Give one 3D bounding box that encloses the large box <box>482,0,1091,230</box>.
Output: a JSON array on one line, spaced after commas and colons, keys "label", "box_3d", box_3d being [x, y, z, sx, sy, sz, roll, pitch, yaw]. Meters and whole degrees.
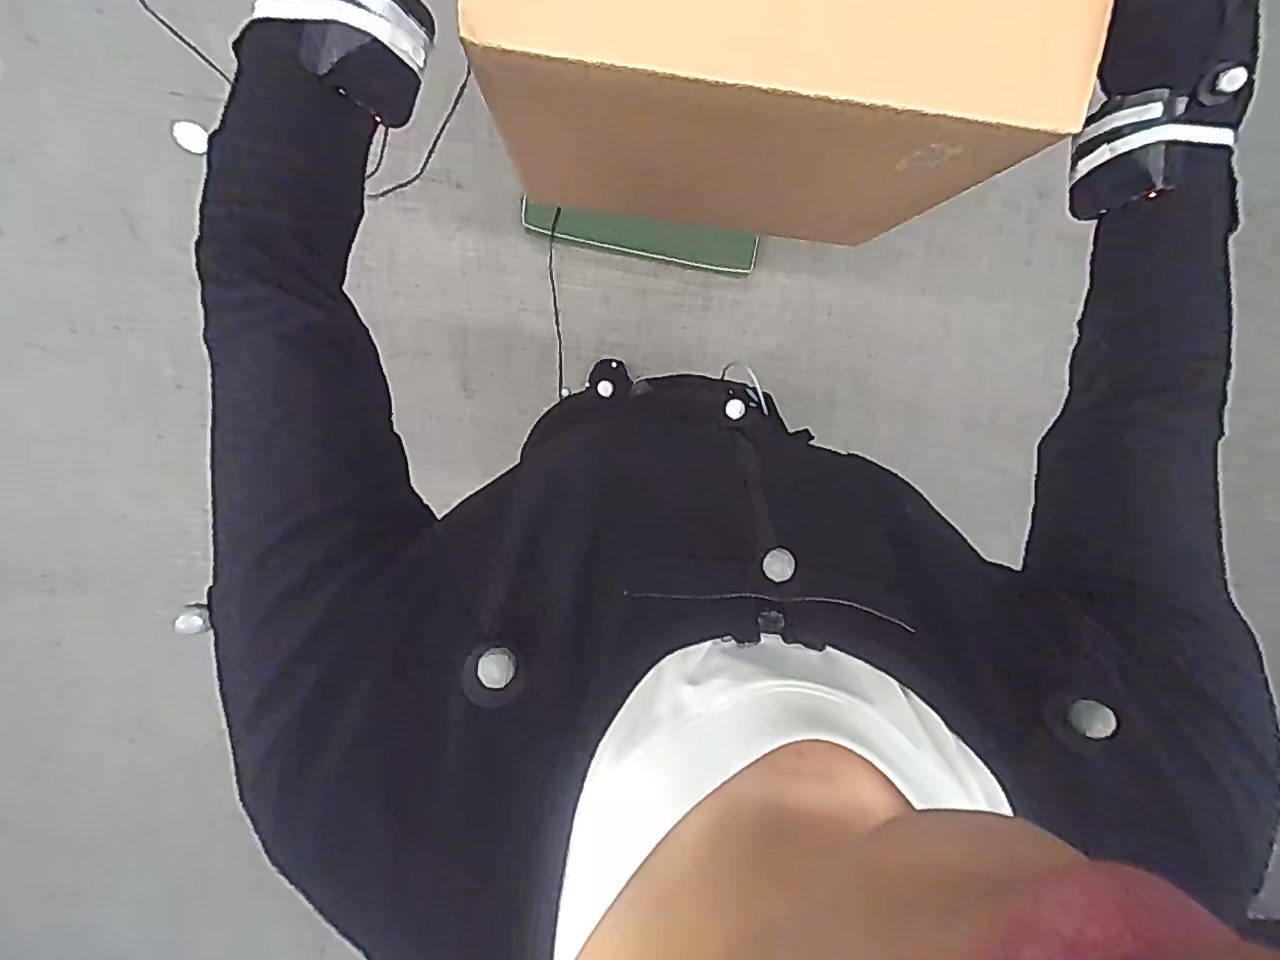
[{"label": "large box", "box_3d": [0.095, -0.438, 0.471, 0.408, 0.320, 0.320, 4, 101, -6]}]
